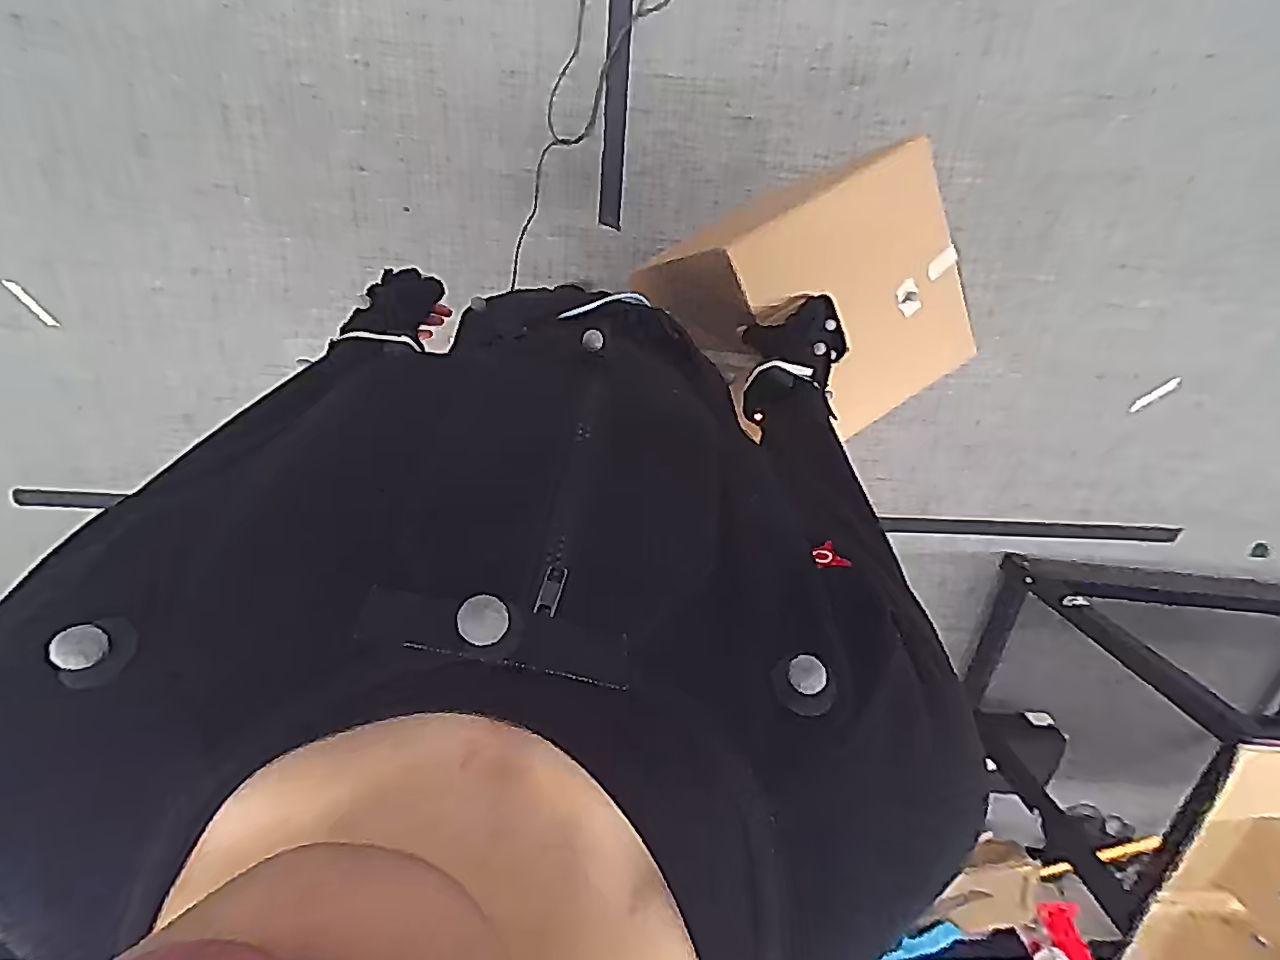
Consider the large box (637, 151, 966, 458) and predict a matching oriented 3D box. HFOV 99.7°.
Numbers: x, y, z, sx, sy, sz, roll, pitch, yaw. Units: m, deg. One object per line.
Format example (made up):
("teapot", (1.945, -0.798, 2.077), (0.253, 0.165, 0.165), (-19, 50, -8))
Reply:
("large box", (0.242, -0.280, 0.908), (0.320, 0.408, 0.320), (-29, 113, -8))
